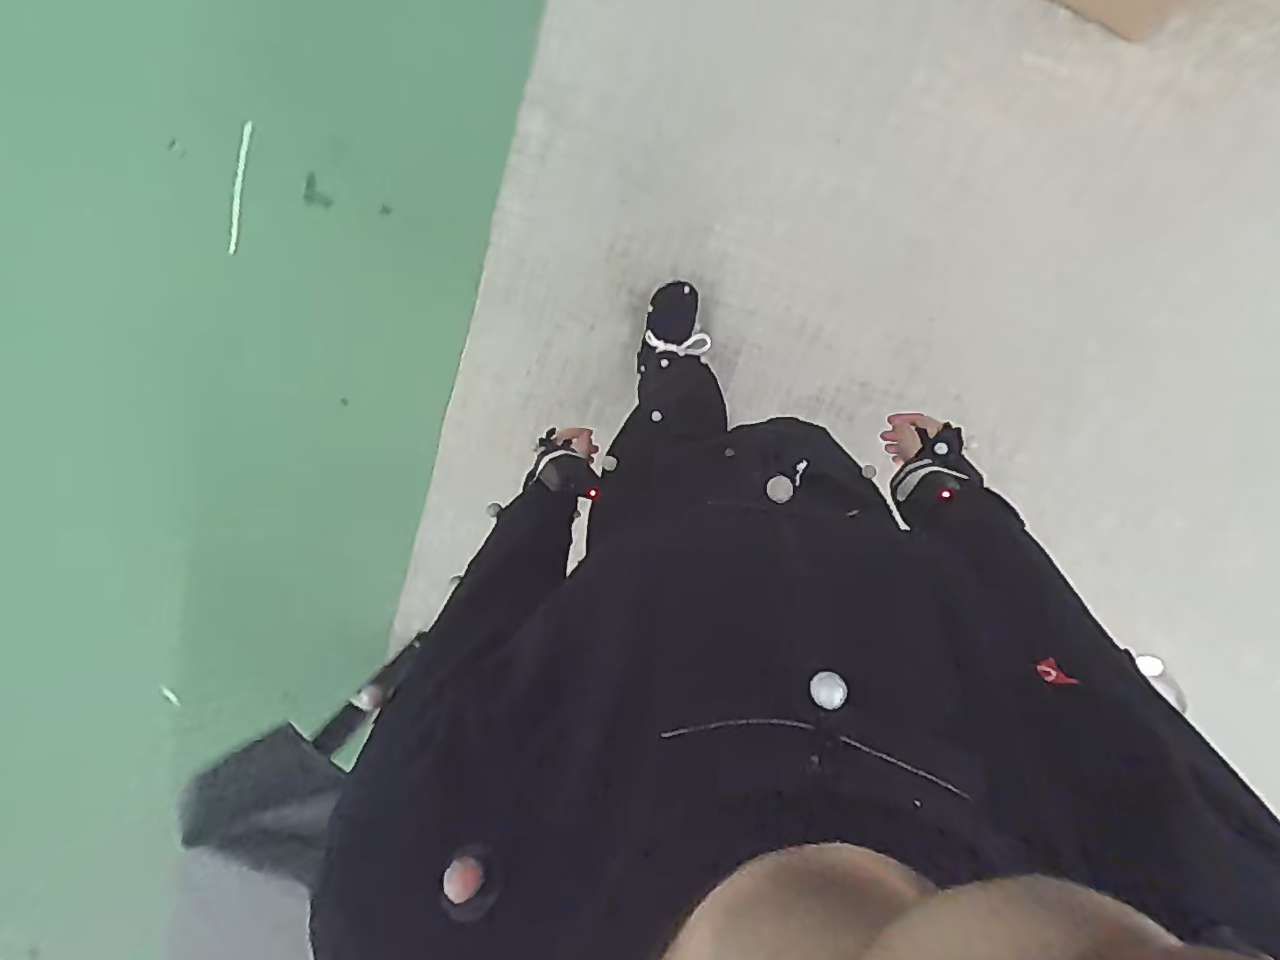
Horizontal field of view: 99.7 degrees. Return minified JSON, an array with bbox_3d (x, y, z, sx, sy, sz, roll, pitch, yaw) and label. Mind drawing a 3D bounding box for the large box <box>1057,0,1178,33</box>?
[{"bbox_3d":[0.811,-1.034,0.858,0.408,0.320,0.320,26,107,0],"label":"large box"}]
